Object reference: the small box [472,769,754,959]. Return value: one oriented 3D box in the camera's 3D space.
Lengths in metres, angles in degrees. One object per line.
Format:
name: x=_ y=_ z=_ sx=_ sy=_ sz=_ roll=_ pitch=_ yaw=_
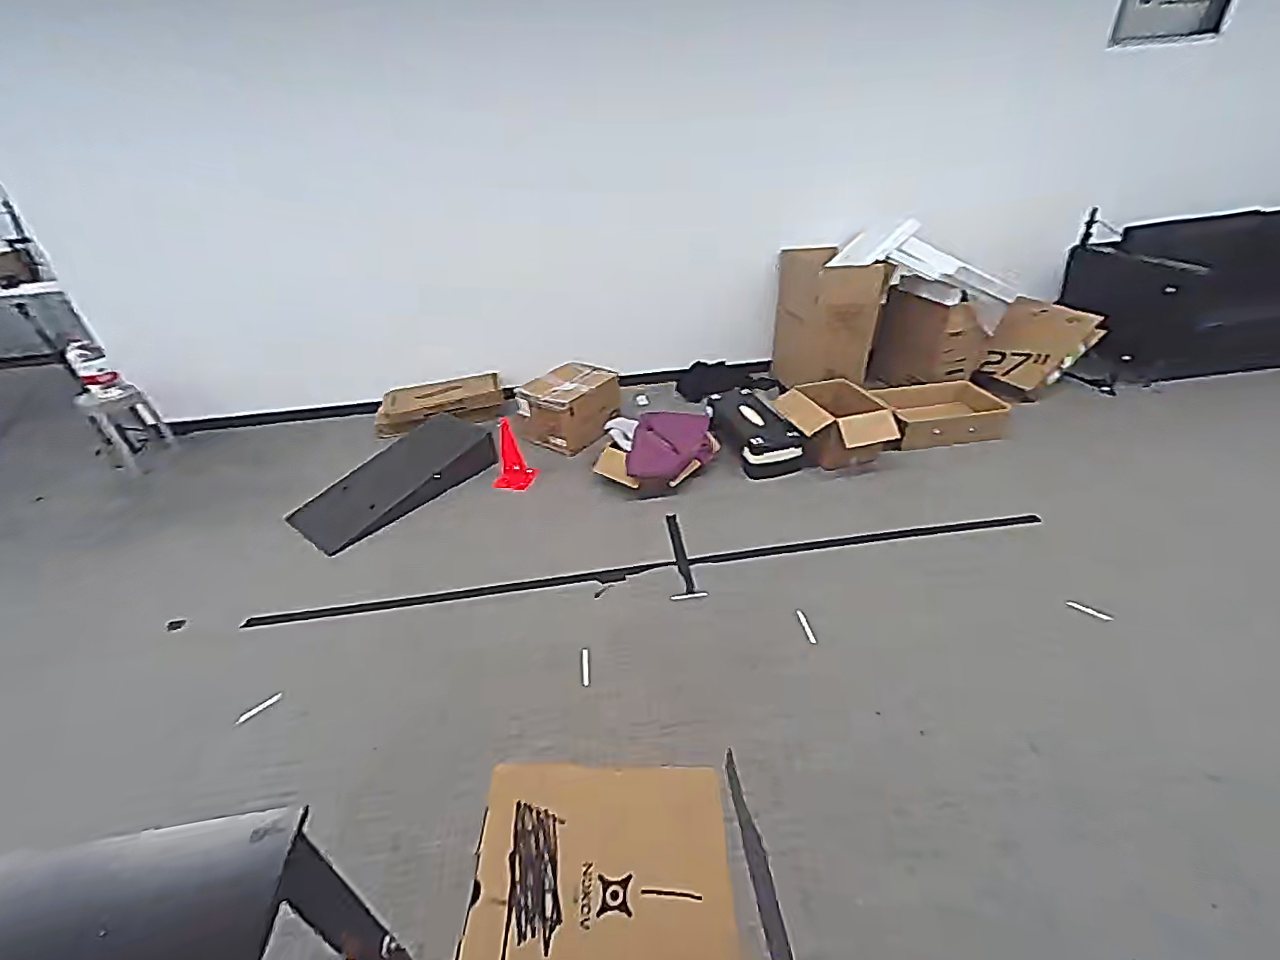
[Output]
small box: x=-0.020 y=0.340 z=0.404 sx=0.179 sy=0.176 sz=0.168 roll=1 pitch=37 yaw=-3
